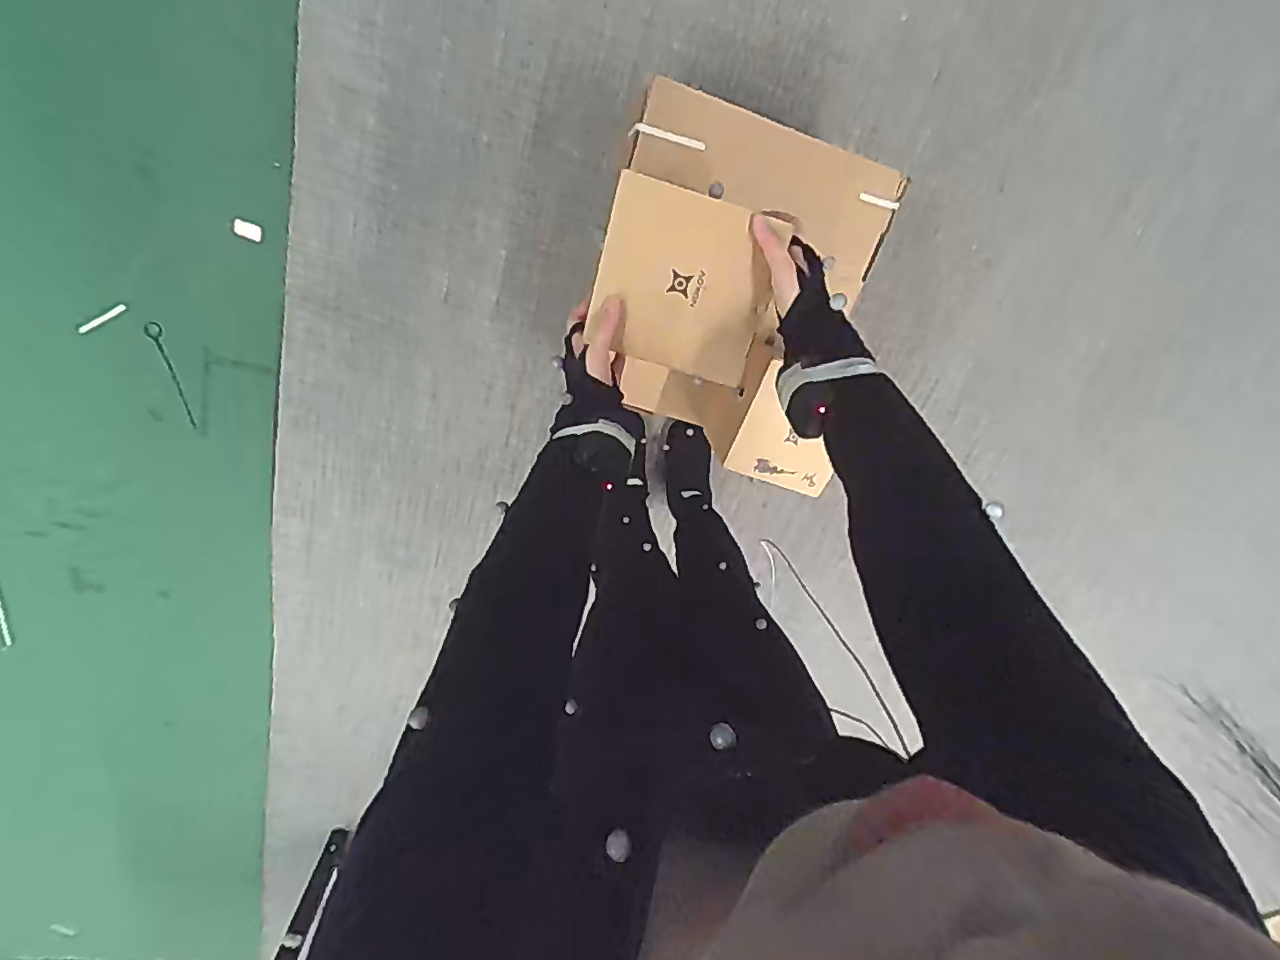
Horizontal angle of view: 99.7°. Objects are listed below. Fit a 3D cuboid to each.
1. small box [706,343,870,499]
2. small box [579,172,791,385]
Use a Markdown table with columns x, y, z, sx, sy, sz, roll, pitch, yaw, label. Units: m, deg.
| x | y | z | sx | sy | sz | roll | pitch | yaw | label |
| --- | --- | --- | --- | --- | --- | --- | --- | --- | --- |
| 0.217 | -0.101 | 0.854 | 0.168 | 0.176 | 0.179 | 18 | 111 | -11 | small box |
| 0.039 | -0.224 | 0.613 | 0.179 | 0.176 | 0.168 | 14 | 112 | -9 | small box |
